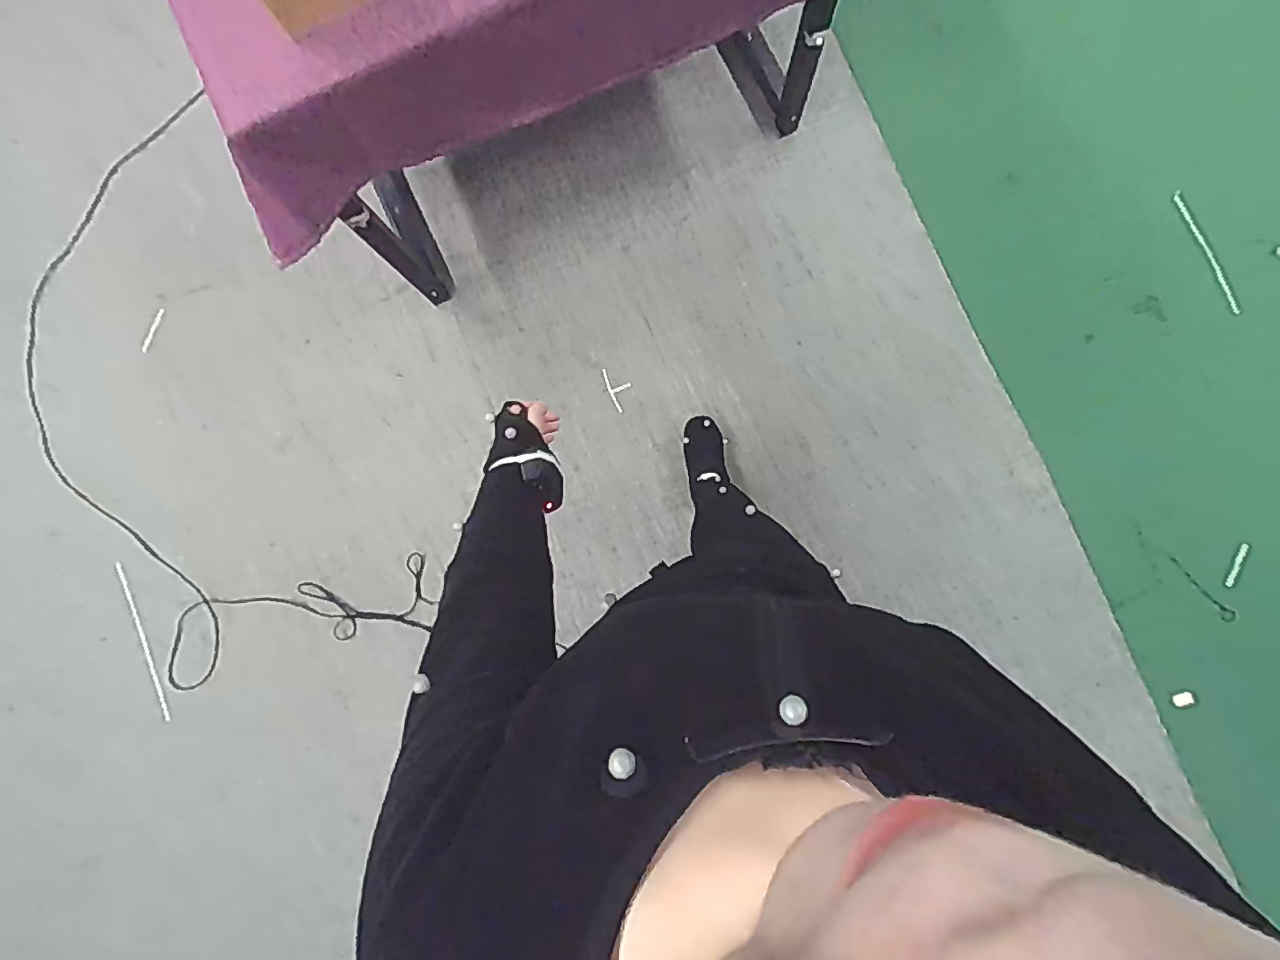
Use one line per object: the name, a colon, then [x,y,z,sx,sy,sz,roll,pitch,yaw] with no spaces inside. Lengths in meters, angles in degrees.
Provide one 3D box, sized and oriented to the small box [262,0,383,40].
small box: [-0.518,-0.818,0.805,0.179,0.176,0.168,-24,84,1]
